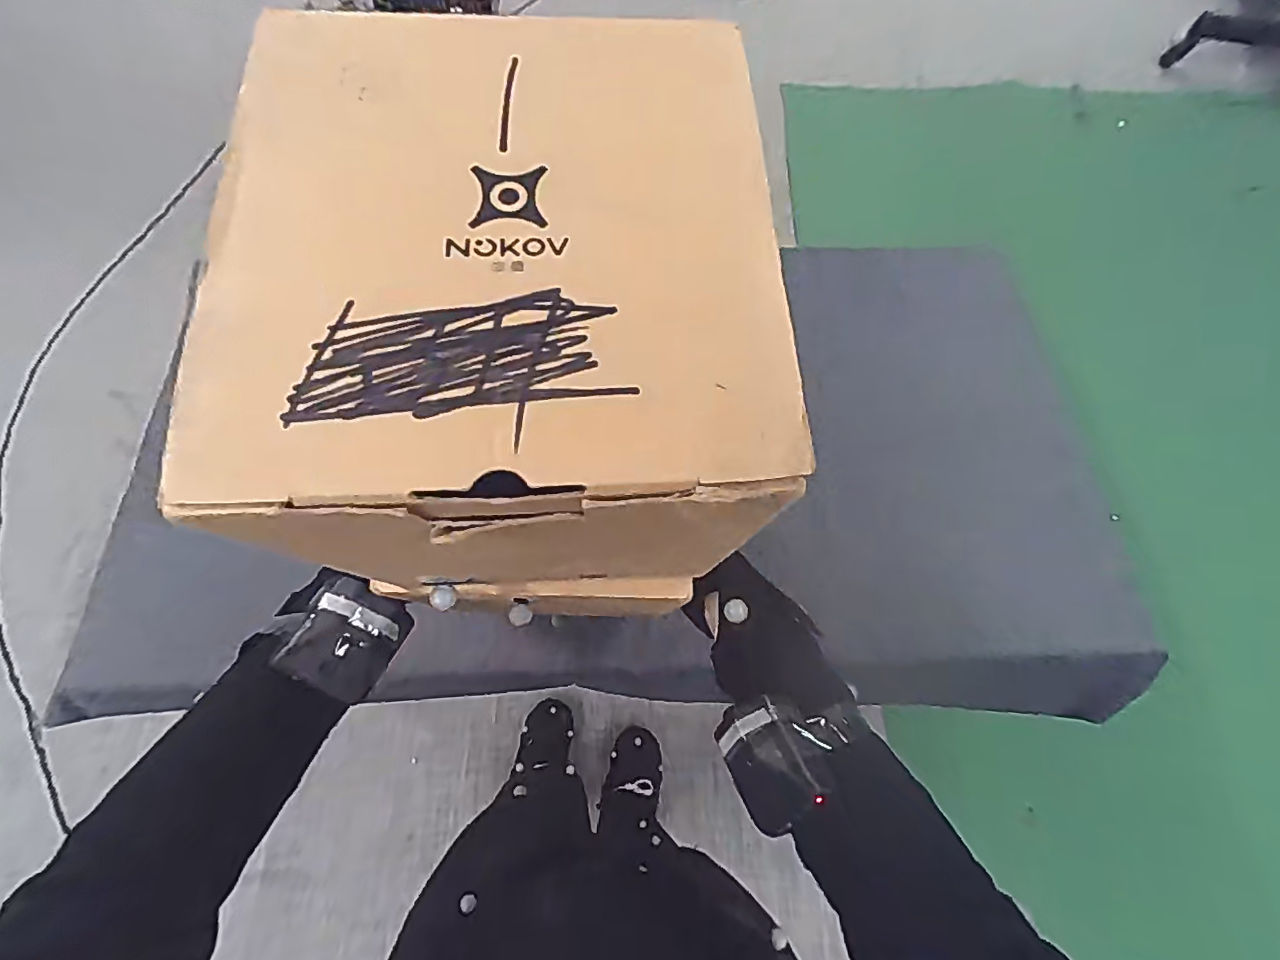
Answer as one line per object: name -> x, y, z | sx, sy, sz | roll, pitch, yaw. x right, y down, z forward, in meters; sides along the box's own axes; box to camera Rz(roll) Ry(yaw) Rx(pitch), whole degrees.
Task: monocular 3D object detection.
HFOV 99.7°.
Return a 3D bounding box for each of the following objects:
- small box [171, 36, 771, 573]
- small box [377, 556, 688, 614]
small box -> -0.051, -0.055, 0.248 | 0.168, 0.176, 0.179 | -2, 71, -4
small box -> -0.064, 0.006, 0.403 | 0.179, 0.176, 0.168 | 0, 69, -4
